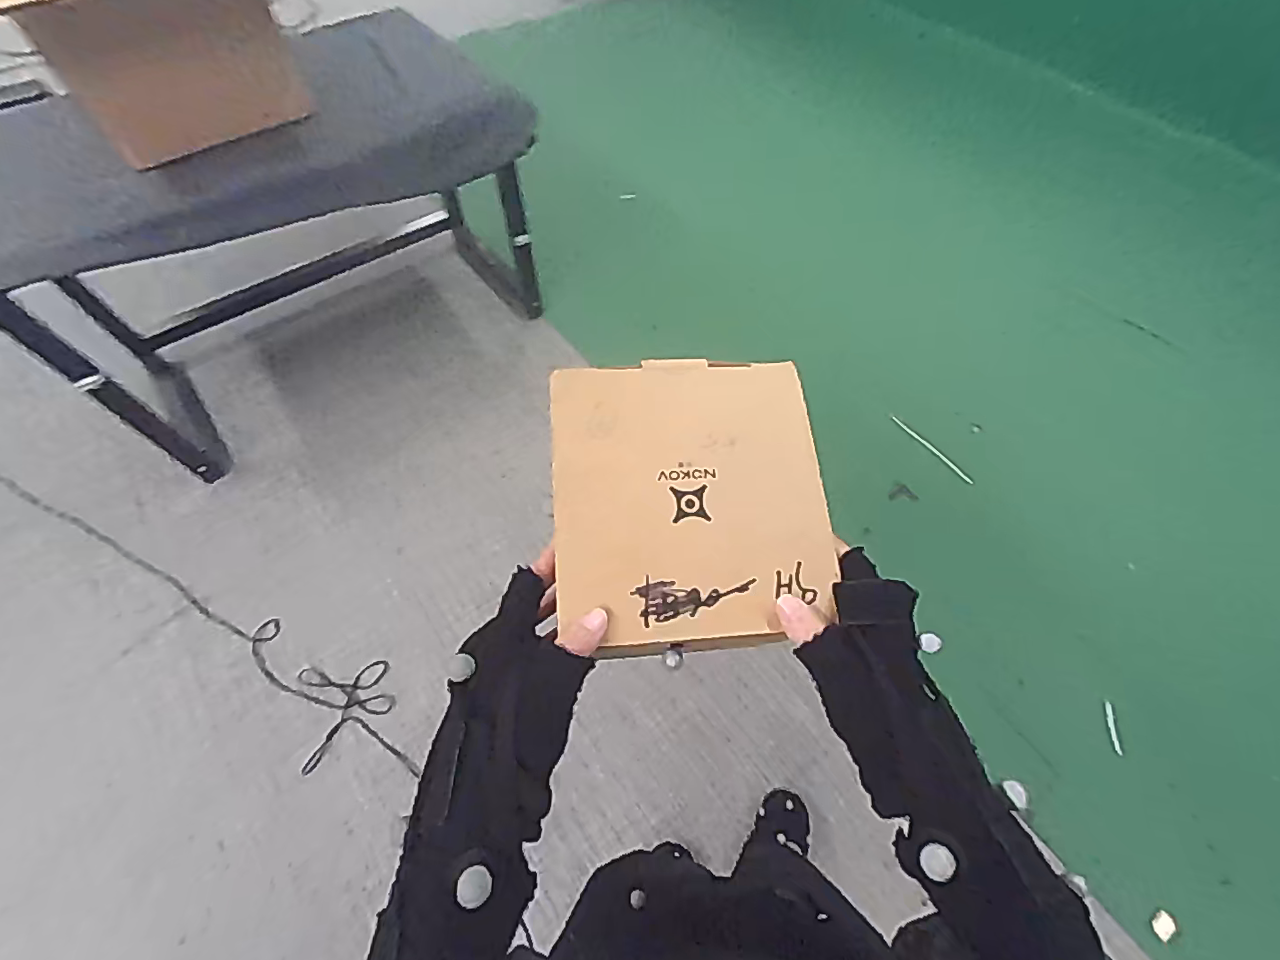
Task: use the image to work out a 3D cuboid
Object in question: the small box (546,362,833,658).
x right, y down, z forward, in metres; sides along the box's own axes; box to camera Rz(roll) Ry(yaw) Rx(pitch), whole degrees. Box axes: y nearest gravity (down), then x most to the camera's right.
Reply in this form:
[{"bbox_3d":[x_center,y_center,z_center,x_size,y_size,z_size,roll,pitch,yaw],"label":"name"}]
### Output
[{"bbox_3d":[0.018,0.032,0.408,0.168,0.176,0.179,-4,69,-5],"label":"small box"}]
